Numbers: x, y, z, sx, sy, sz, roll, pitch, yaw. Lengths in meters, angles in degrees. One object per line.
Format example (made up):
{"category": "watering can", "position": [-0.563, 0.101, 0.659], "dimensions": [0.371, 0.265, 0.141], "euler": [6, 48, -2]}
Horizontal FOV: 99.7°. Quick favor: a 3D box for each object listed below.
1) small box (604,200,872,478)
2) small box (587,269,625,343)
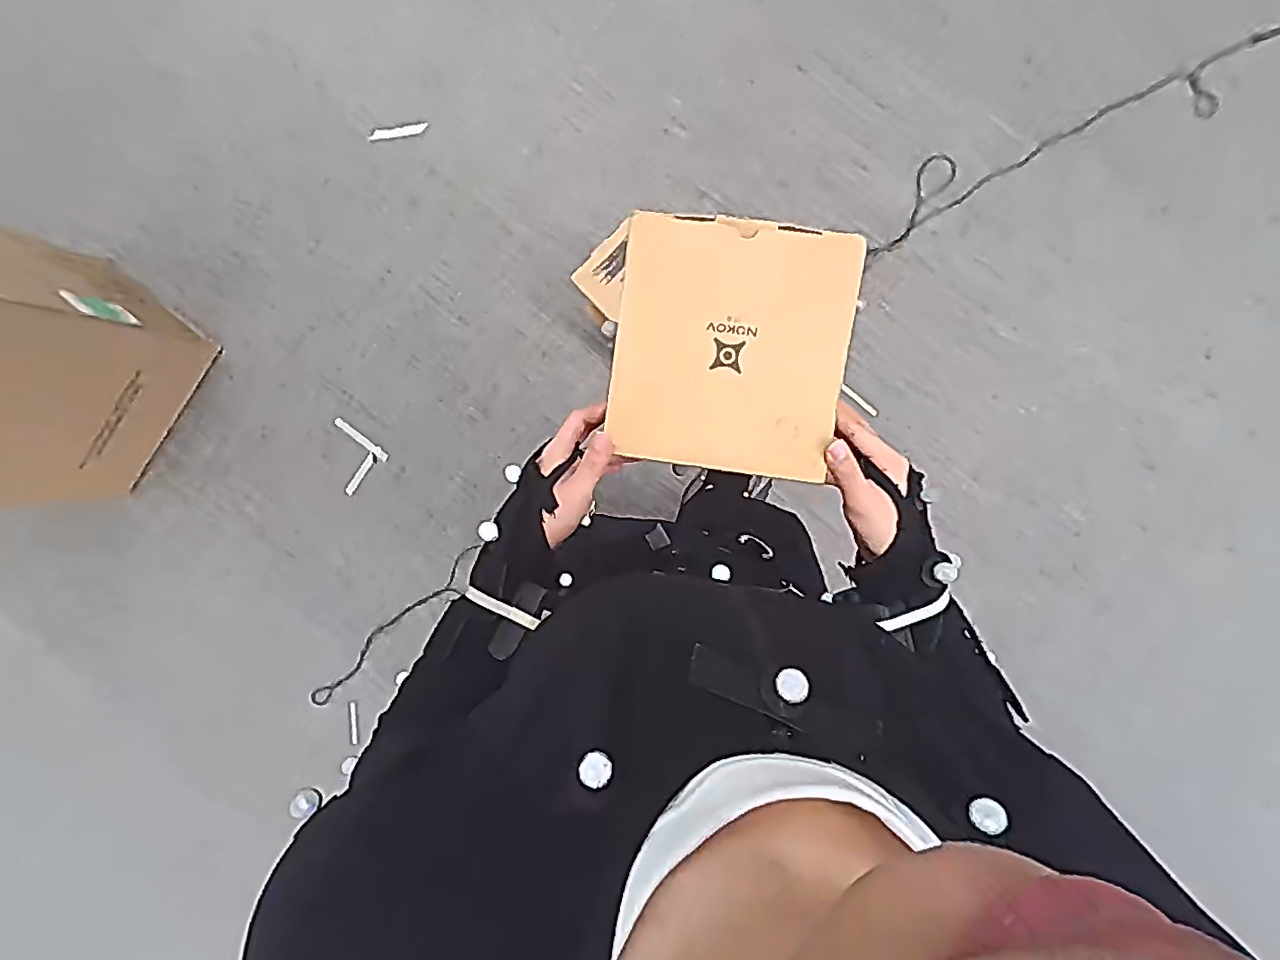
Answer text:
{"category": "small box", "position": [0.072, -0.105, 0.455], "dimensions": [0.168, 0.176, 0.179], "euler": [8, 96, 4]}
{"category": "small box", "position": [0.004, -0.385, 1.261], "dimensions": [0.179, 0.176, 0.168], "euler": [-44, 89, 8]}
